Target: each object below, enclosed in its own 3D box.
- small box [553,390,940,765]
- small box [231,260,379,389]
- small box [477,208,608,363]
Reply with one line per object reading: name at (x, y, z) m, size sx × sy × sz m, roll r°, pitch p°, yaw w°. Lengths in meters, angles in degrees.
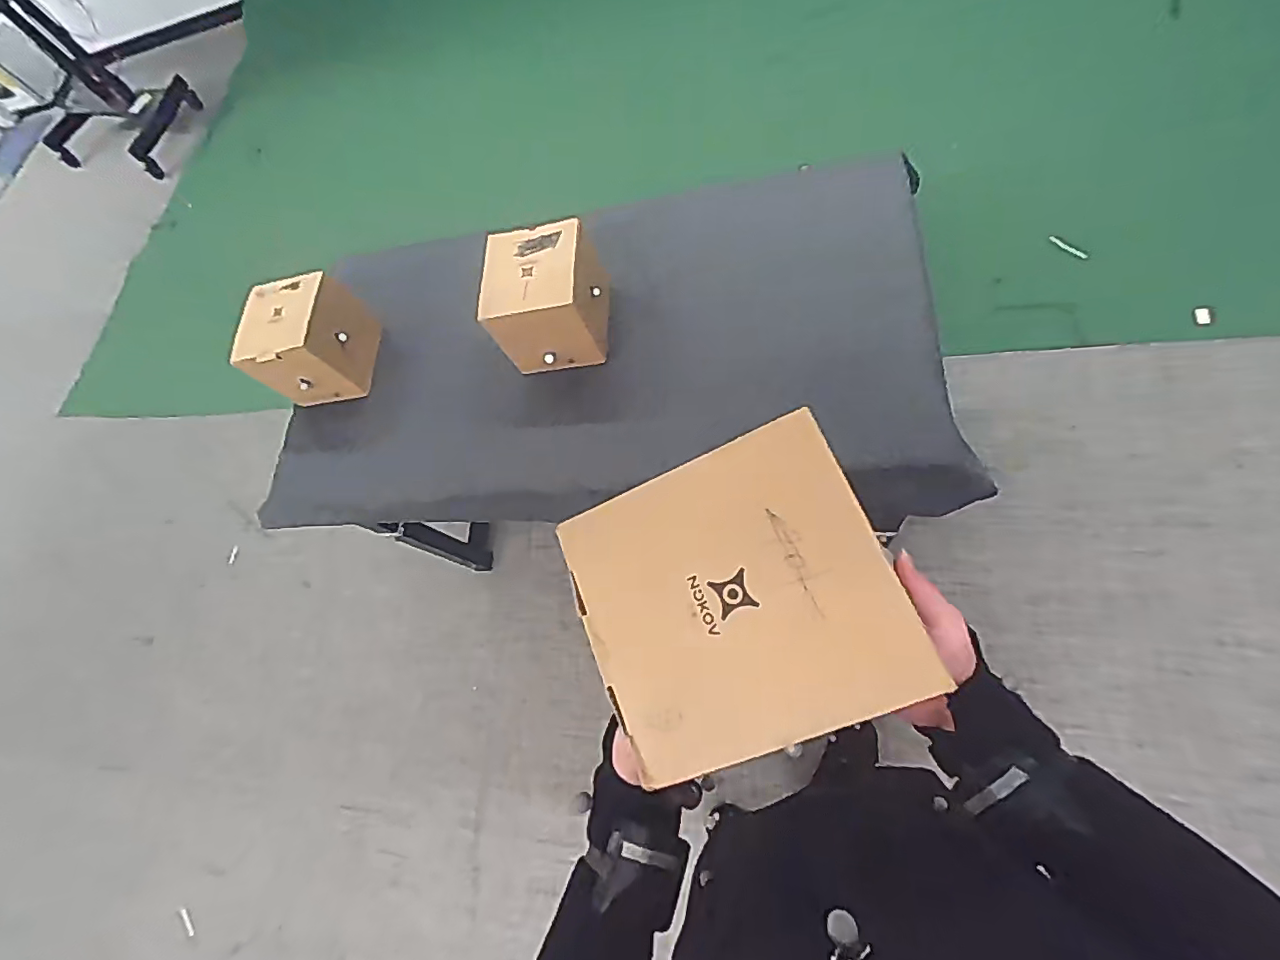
small box at (0.071, 0.068, 0.382) m, size 0.179 × 0.176 × 0.168 m, roll -26°, pitch 74°, yaw 11°
small box at (-0.642, -0.291, 1.059) m, size 0.168 × 0.176 × 0.179 m, roll -6°, pitch 69°, yaw 13°
small box at (-0.158, -0.327, 0.936) m, size 0.168 × 0.176 × 0.179 m, roll -4°, pitch 70°, yaw 15°
